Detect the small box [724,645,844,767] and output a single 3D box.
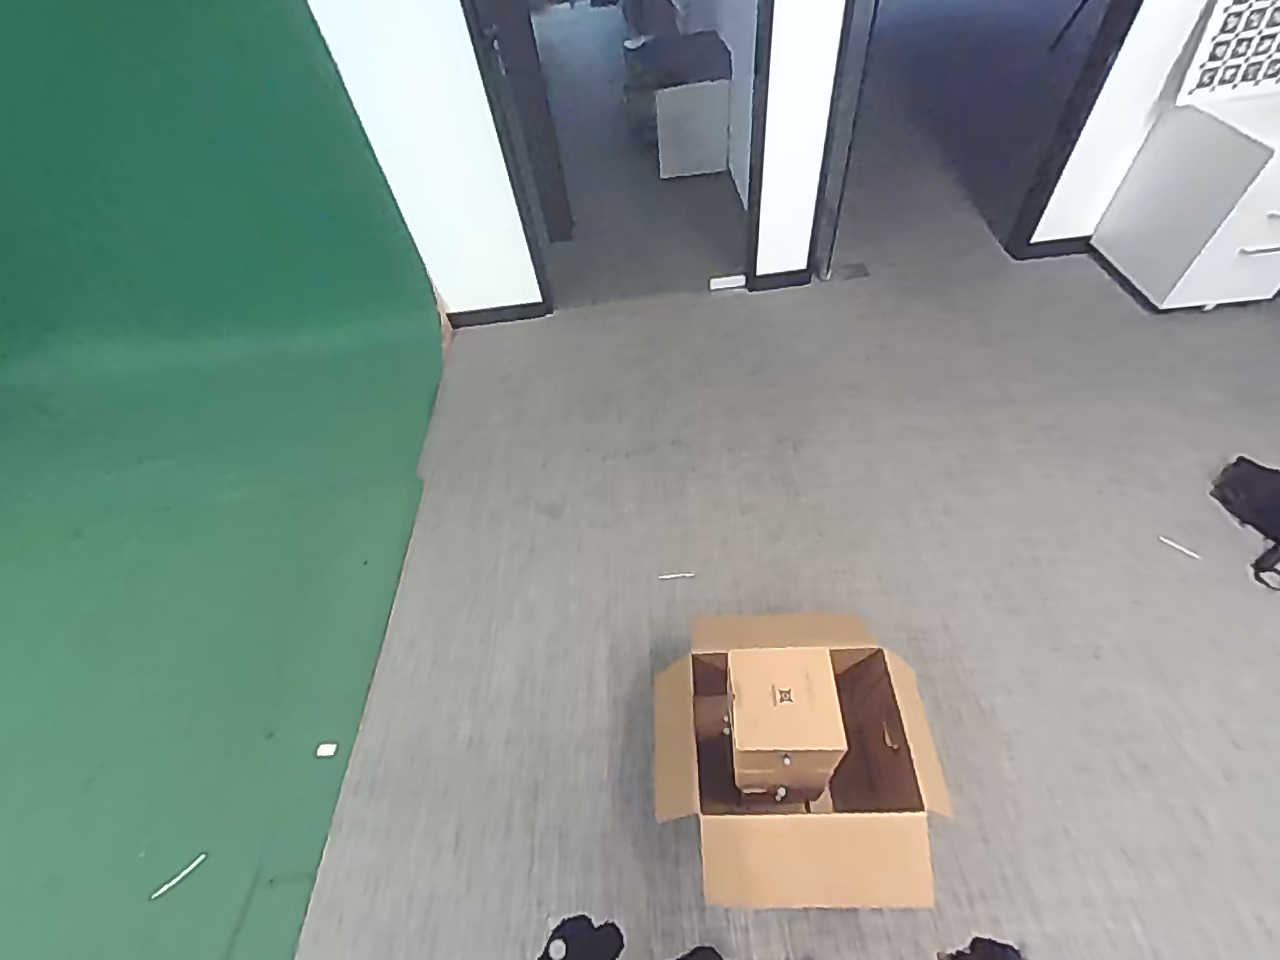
[{"bbox_3d":[0.248,0.408,0.968,0.179,0.176,0.168,-5,52,6],"label":"small box"}]
